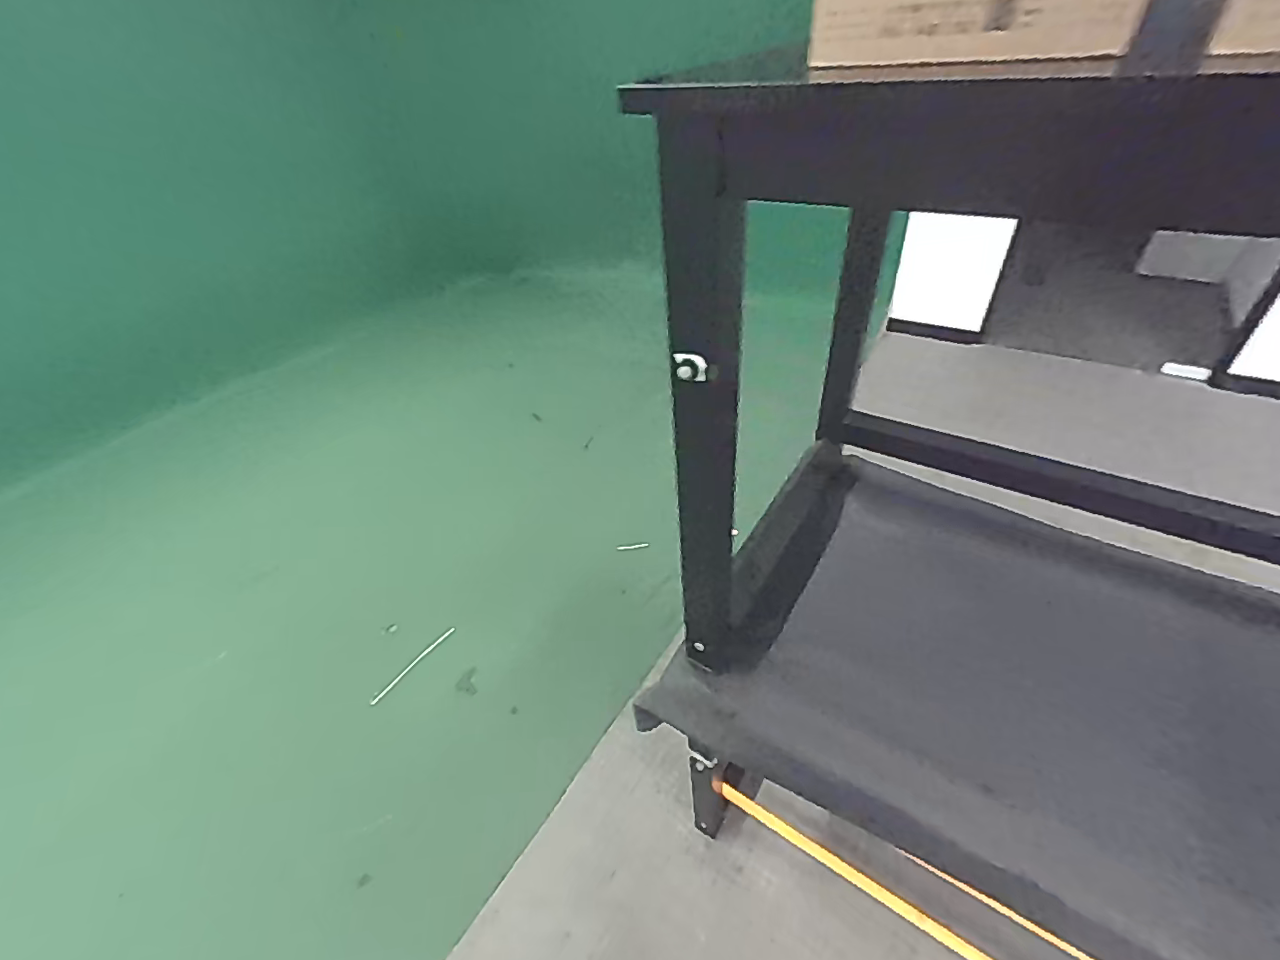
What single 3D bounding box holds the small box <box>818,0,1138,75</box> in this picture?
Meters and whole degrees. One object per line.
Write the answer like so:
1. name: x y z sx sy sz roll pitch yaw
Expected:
1. small box: 0.215 -0.347 0.314 0.168 0.176 0.179 22 48 28
